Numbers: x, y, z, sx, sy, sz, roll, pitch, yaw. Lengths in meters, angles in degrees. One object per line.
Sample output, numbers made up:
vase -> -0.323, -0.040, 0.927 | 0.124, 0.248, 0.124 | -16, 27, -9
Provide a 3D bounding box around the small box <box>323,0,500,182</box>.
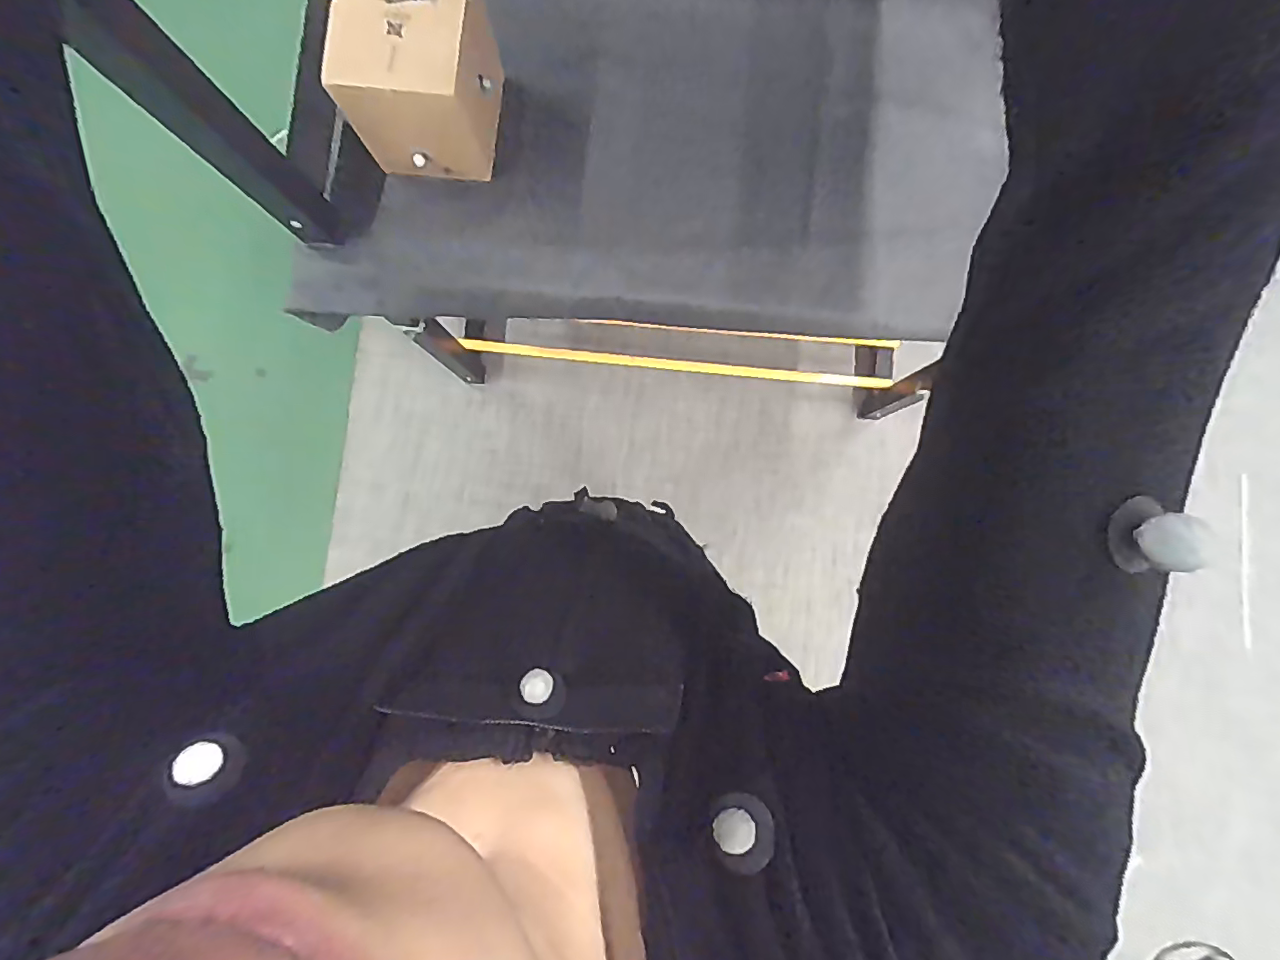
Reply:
small box -> -0.297, -0.550, 0.744 | 0.168, 0.176, 0.179 | 5, 85, 0
